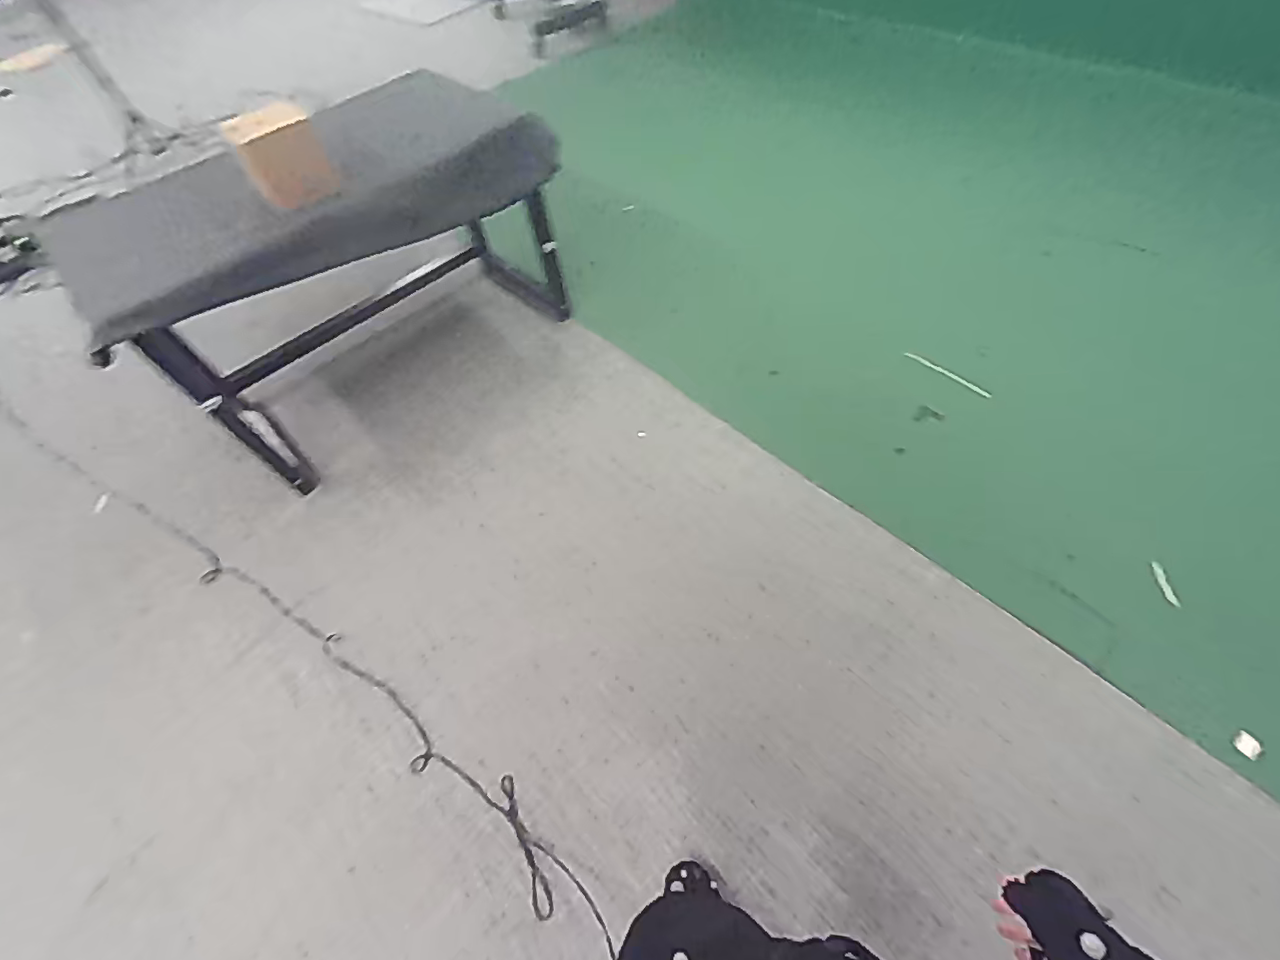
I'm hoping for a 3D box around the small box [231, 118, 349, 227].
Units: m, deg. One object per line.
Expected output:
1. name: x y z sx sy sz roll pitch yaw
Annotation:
1. small box: -0.878 -0.782 1.376 0.179 0.176 0.168 -38 59 -20
